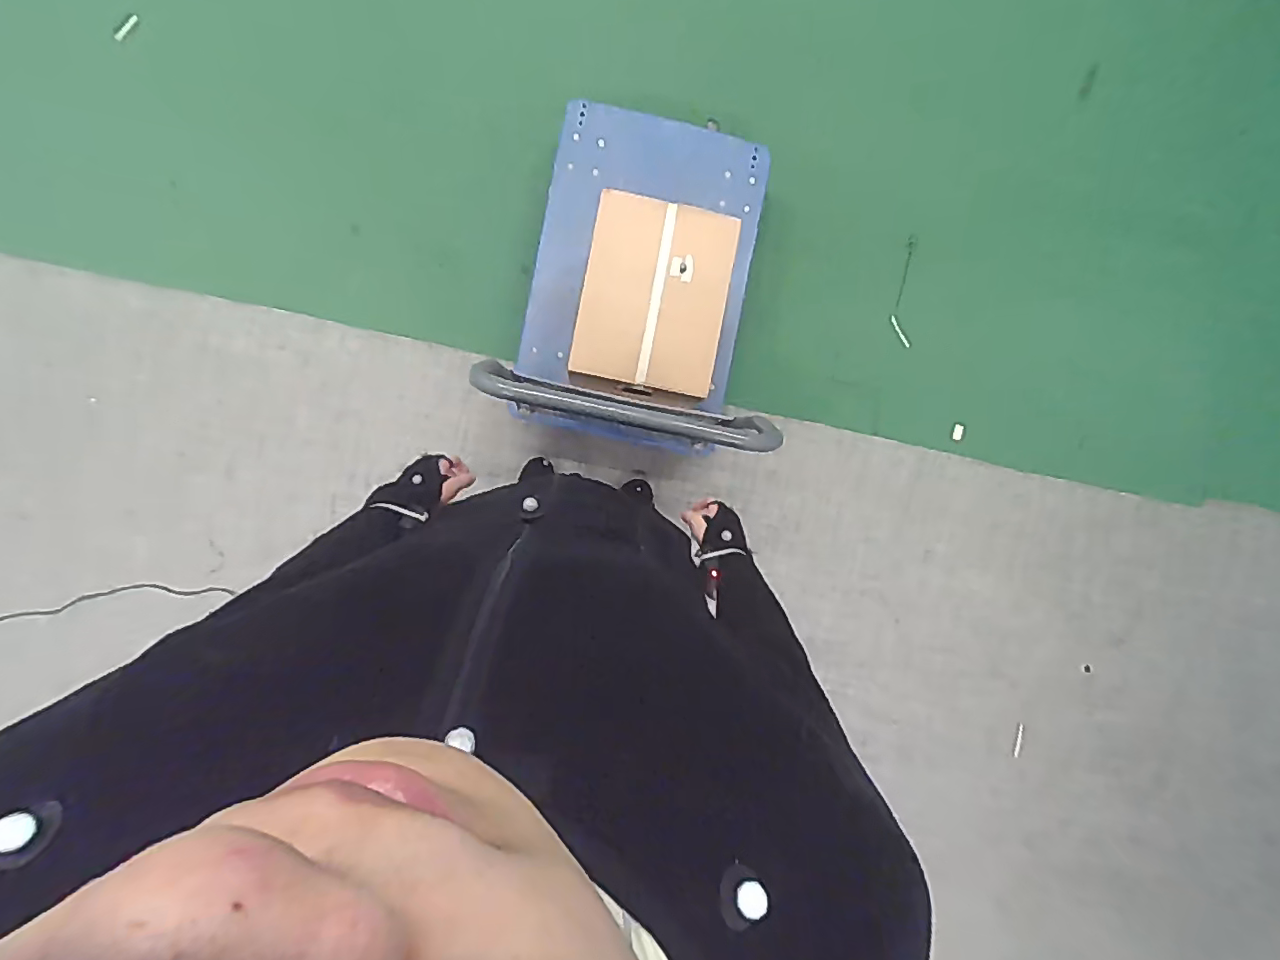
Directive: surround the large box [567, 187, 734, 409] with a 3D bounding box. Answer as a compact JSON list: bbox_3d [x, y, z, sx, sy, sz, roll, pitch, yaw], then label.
[{"bbox_3d":[0.012,-0.409,1.319,0.320,0.320,0.408,11,89,-6],"label":"large box"}]
